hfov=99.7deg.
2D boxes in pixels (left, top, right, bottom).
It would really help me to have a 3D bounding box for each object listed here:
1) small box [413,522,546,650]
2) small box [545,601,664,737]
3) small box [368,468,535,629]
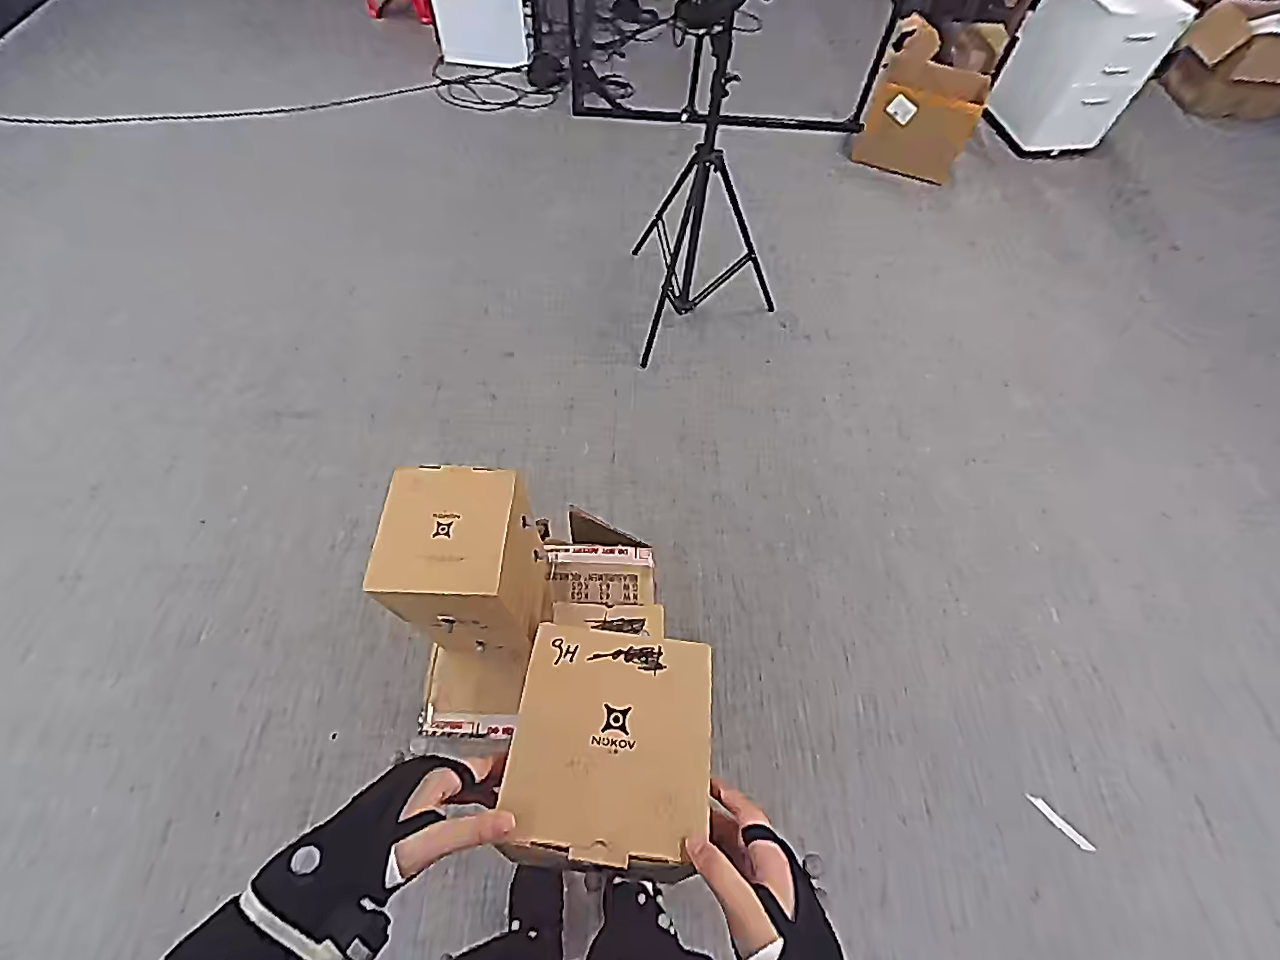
[{"bbox_3d":[-0.255,0.178,0.906,0.168,0.176,0.179,2,62,-1],"label":"small box"},{"bbox_3d":[-0.053,0.301,0.850,0.168,0.176,0.179,3,62,-3],"label":"small box"},{"bbox_3d":[-0.248,0.101,0.762,0.168,0.176,0.179,2,62,0],"label":"small box"}]
